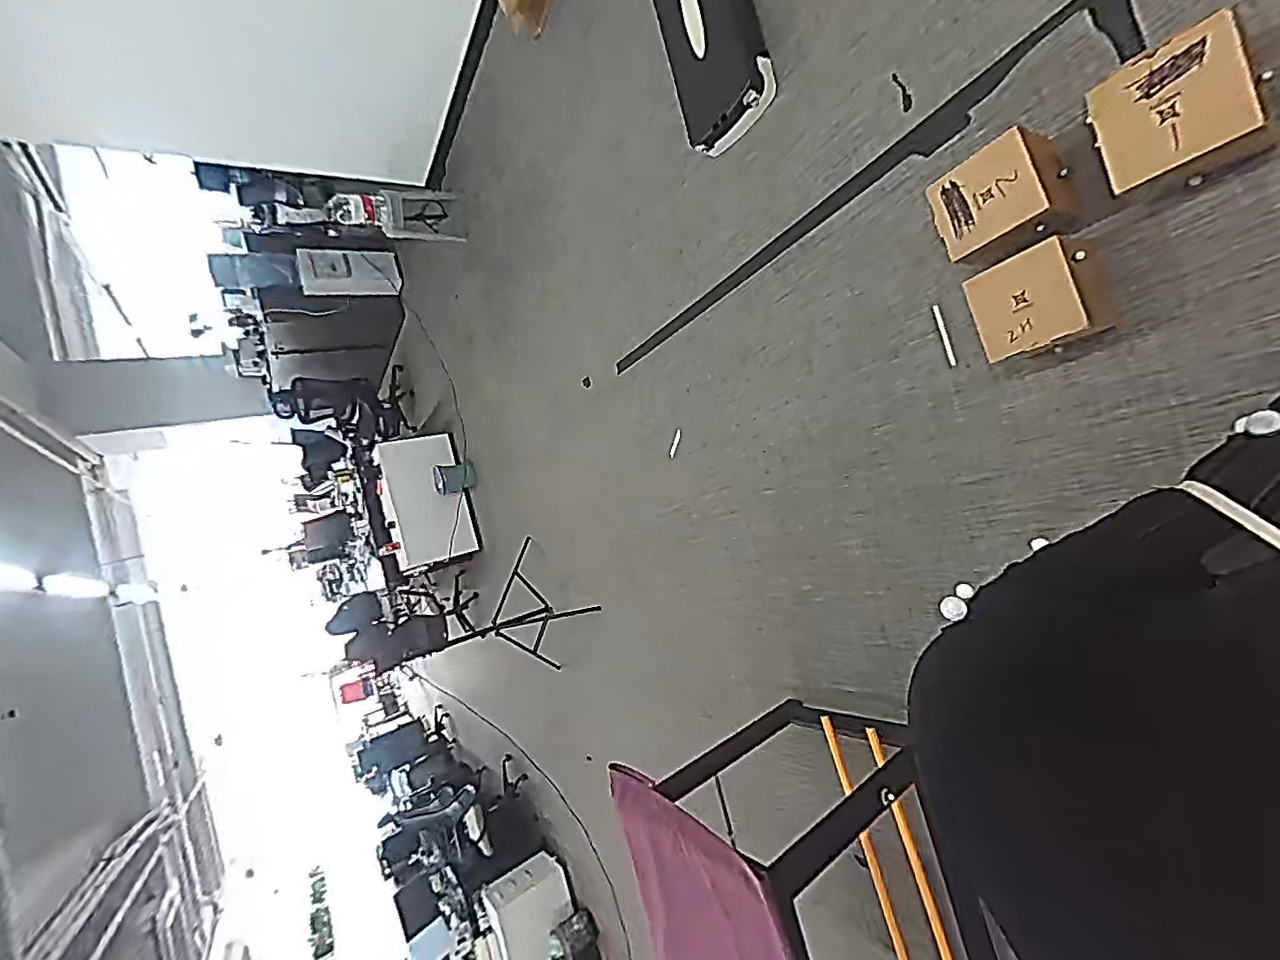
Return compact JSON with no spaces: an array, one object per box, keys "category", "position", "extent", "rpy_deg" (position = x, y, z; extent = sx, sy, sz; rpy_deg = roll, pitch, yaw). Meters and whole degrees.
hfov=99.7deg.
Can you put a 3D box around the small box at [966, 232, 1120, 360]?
[{"category":"small box","position":[0.767,-0.343,1.032],"extent":[0.168,0.176,0.179],"rpy_deg":[-23,83,56]}]

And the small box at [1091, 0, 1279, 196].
[{"category":"small box","position":[0.847,-0.571,0.839],"extent":[0.168,0.176,0.179],"rpy_deg":[-17,89,56]}]
